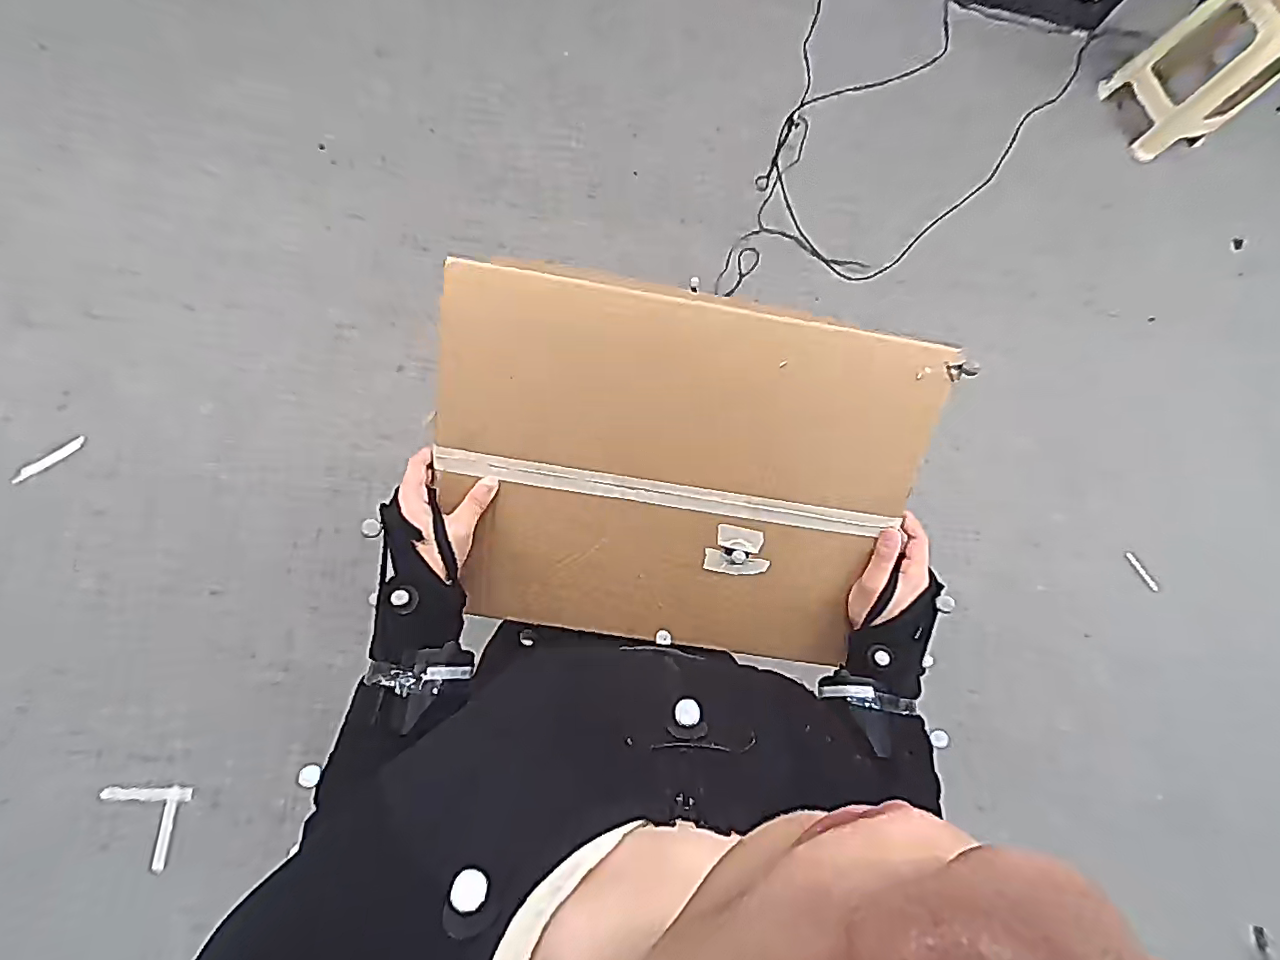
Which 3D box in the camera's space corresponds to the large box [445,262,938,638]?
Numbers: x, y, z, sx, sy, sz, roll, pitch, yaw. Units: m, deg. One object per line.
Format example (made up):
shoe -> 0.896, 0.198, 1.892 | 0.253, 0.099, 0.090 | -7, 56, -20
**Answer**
large box -> 0.024, -0.057, 0.619 | 0.408, 0.320, 0.320 | 8, 112, -5
